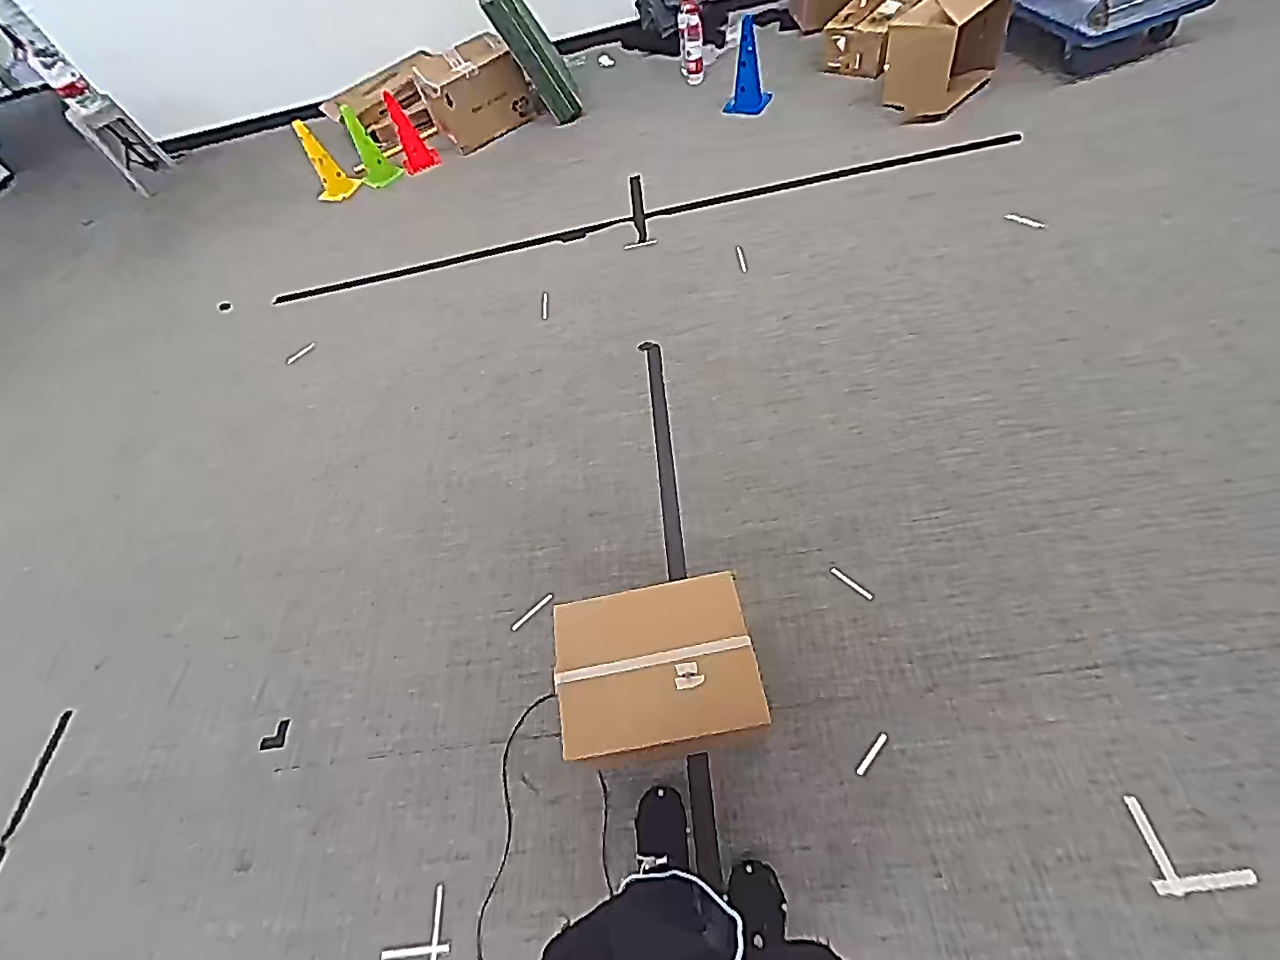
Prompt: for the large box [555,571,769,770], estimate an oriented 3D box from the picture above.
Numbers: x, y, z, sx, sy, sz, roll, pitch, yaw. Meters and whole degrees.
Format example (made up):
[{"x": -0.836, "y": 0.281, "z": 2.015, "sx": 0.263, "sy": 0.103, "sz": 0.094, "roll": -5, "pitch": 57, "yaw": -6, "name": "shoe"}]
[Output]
[{"x": 0.050, "y": 0.441, "z": 1.223, "sx": 0.408, "sy": 0.320, "sz": 0.320, "roll": -12, "pitch": 58, "yaw": 3, "name": "large box"}]
